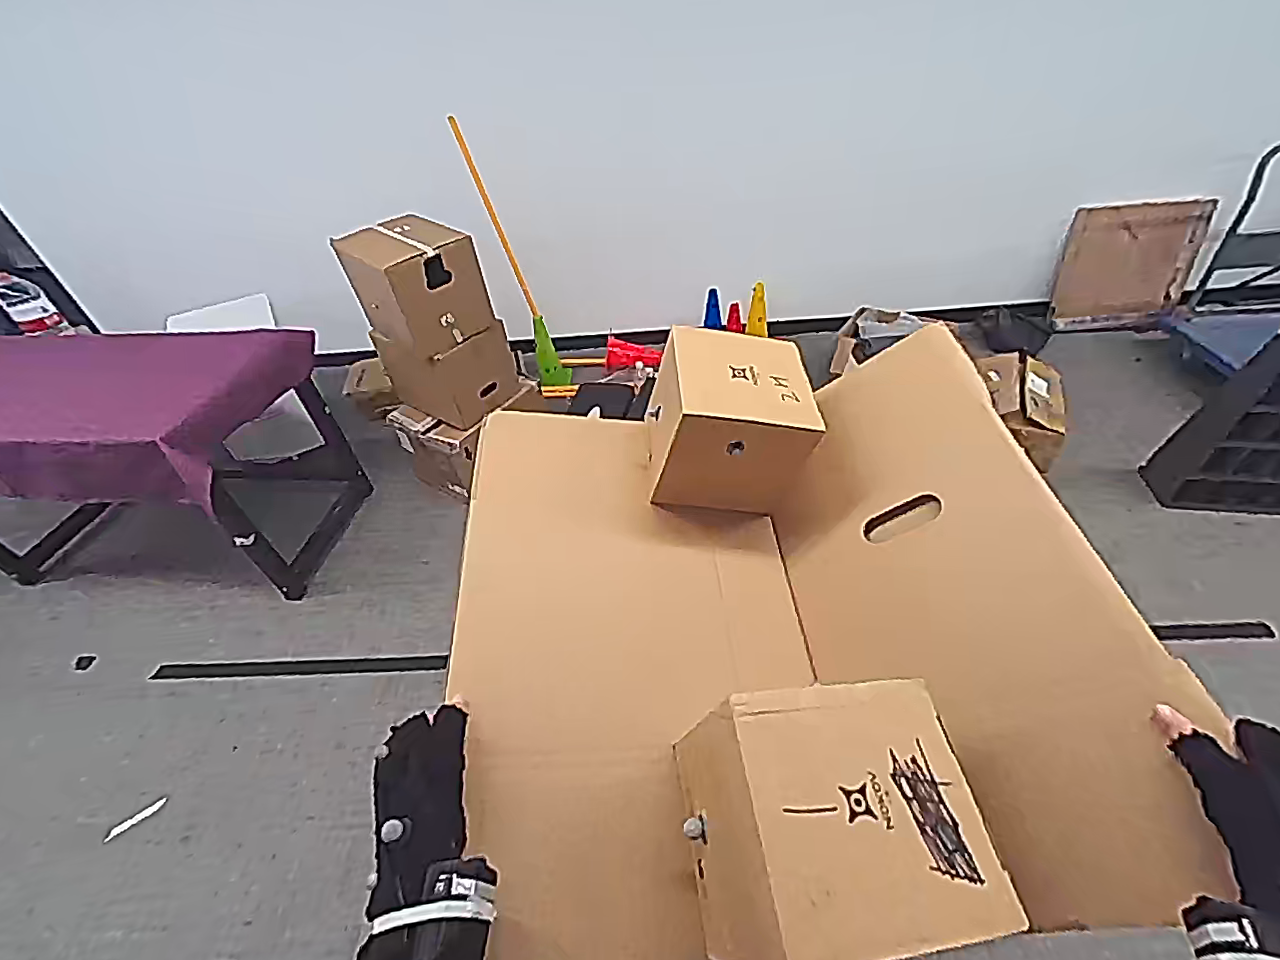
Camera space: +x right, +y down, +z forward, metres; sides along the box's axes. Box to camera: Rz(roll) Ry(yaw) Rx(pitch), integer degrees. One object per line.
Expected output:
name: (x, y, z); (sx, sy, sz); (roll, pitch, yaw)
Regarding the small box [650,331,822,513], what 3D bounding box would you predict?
small box: (0.111, -0.072, 0.724); (0.179, 0.176, 0.168); (6, 50, -10)
